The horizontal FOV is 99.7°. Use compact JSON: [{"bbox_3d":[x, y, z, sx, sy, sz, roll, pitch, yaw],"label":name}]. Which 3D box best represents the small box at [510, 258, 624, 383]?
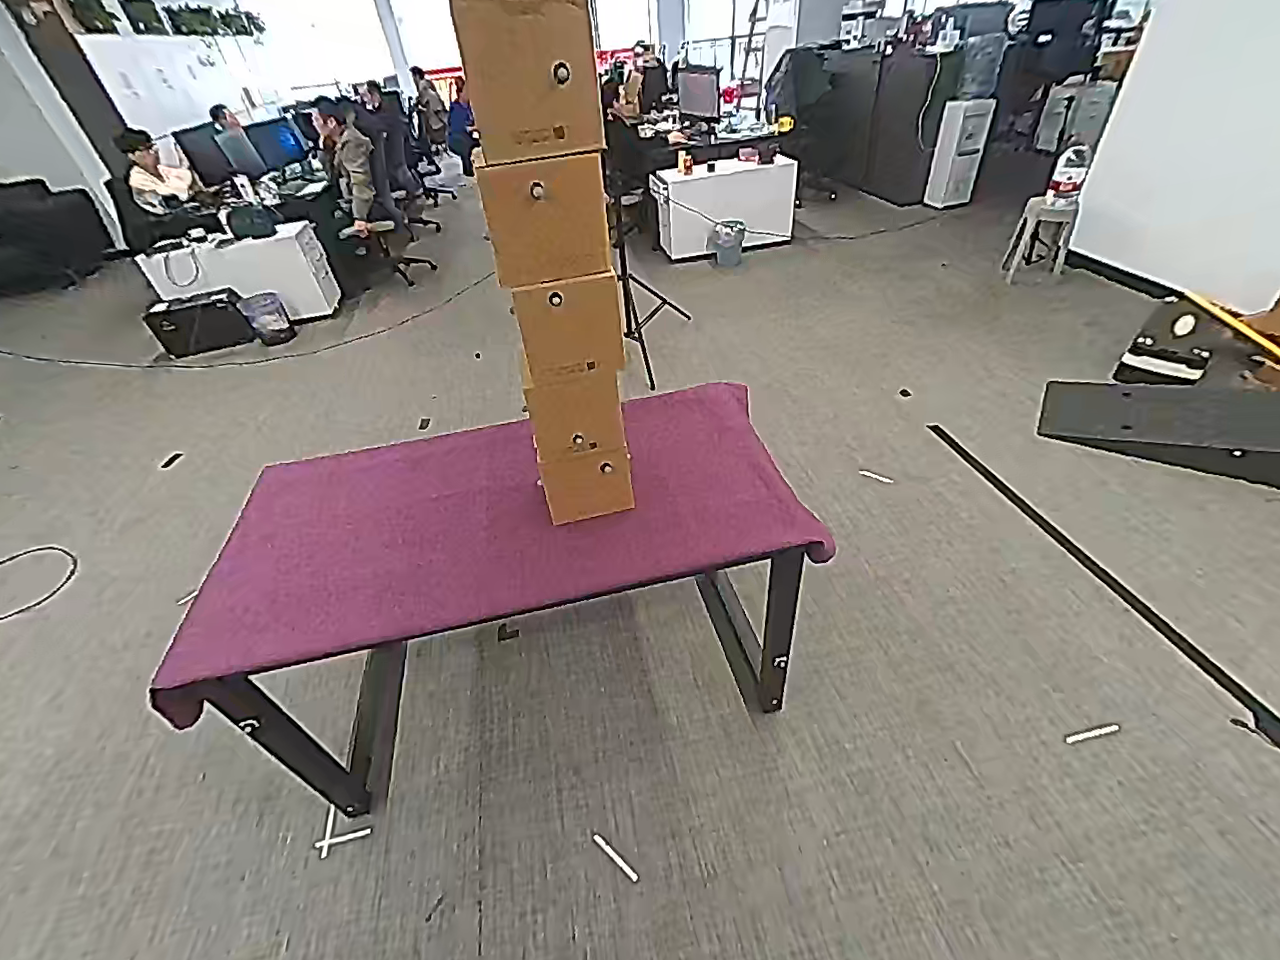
[{"bbox_3d":[-0.129,-0.290,0.940,0.168,0.176,0.179,-12,40,-7],"label":"small box"}]

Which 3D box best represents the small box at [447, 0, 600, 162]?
[{"bbox_3d":[-0.158,-0.547,0.743,0.168,0.176,0.179,-13,40,-9],"label":"small box"}]

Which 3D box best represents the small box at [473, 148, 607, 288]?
[{"bbox_3d":[-0.152,-0.420,0.844,0.179,0.176,0.168,-13,41,-7],"label":"small box"}]

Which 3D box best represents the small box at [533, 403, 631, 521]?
[{"bbox_3d":[-0.120,-0.037,1.148,0.179,0.176,0.168,-13,40,-6],"label":"small box"}]

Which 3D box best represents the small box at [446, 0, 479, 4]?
[{"bbox_3d":[-0.169,-0.678,0.644,0.168,0.176,0.179,-12,39,-8],"label":"small box"}]
